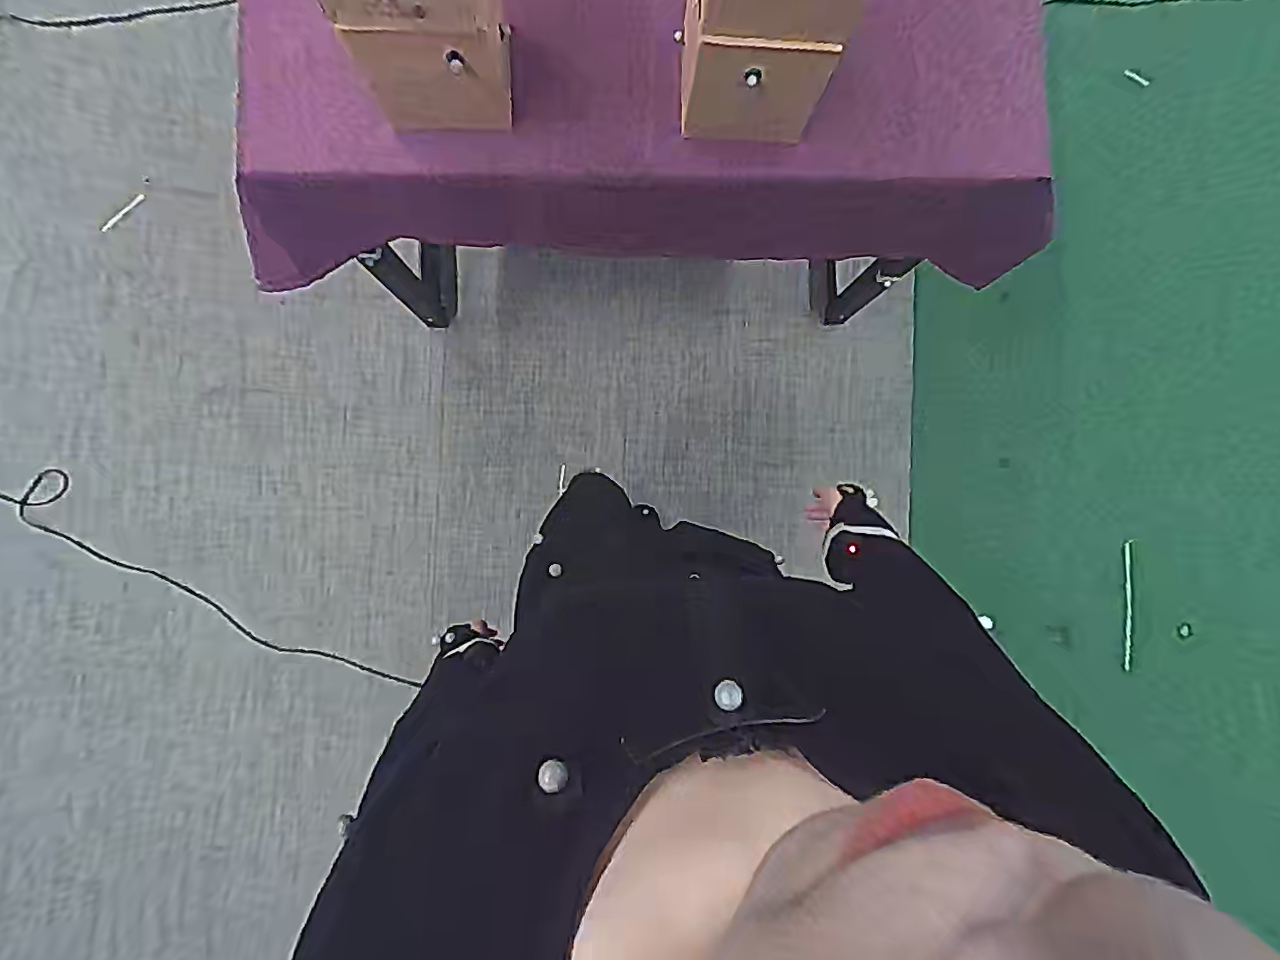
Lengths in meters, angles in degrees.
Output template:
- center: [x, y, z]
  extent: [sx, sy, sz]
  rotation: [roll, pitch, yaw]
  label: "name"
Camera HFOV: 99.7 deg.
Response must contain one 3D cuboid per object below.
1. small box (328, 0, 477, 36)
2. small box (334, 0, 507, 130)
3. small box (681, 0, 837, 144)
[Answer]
- center: [-0.267, -0.608, 0.548]
  extent: [0.168, 0.176, 0.179]
  rotation: [-2, 88, -3]
  label: "small box"
- center: [-0.274, -0.595, 0.711]
  extent: [0.179, 0.176, 0.168]
  rotation: [-1, 87, -4]
  label: "small box"
- center: [0.150, -0.589, 0.733]
  extent: [0.179, 0.176, 0.168]
  rotation: [1, 87, -3]
  label: "small box"
